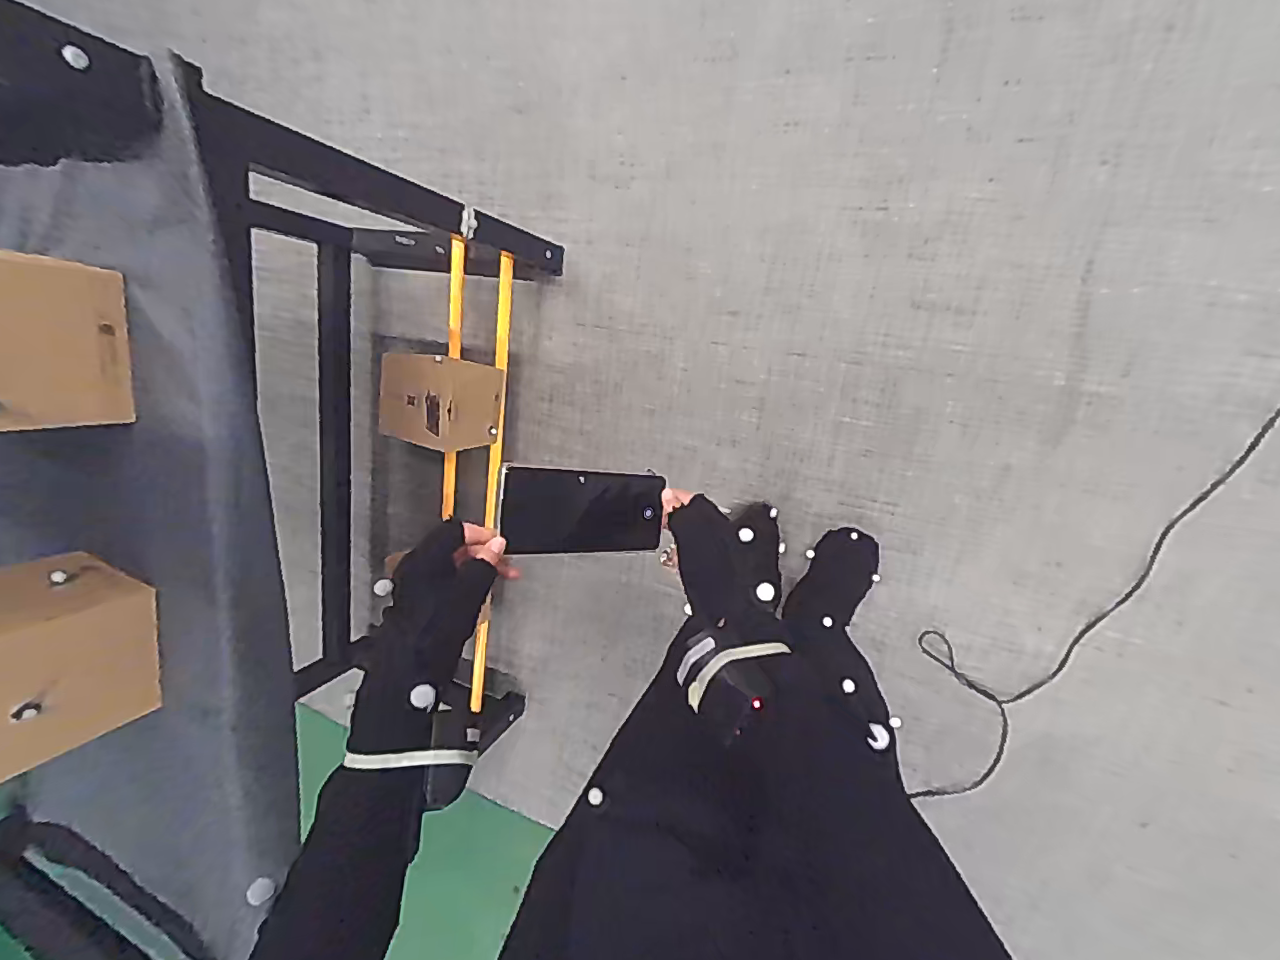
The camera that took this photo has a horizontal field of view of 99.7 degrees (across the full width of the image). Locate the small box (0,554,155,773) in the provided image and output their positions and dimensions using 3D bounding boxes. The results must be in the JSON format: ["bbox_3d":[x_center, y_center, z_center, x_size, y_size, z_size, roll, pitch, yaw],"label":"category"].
[{"bbox_3d":[-0.719,0.210,0.641,0.168,0.176,0.179,15,105,18],"label":"small box"}]

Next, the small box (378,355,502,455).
[{"bbox_3d":[-0.413,-0.162,1.131,0.179,0.176,0.168,16,105,18],"label":"small box"}]
